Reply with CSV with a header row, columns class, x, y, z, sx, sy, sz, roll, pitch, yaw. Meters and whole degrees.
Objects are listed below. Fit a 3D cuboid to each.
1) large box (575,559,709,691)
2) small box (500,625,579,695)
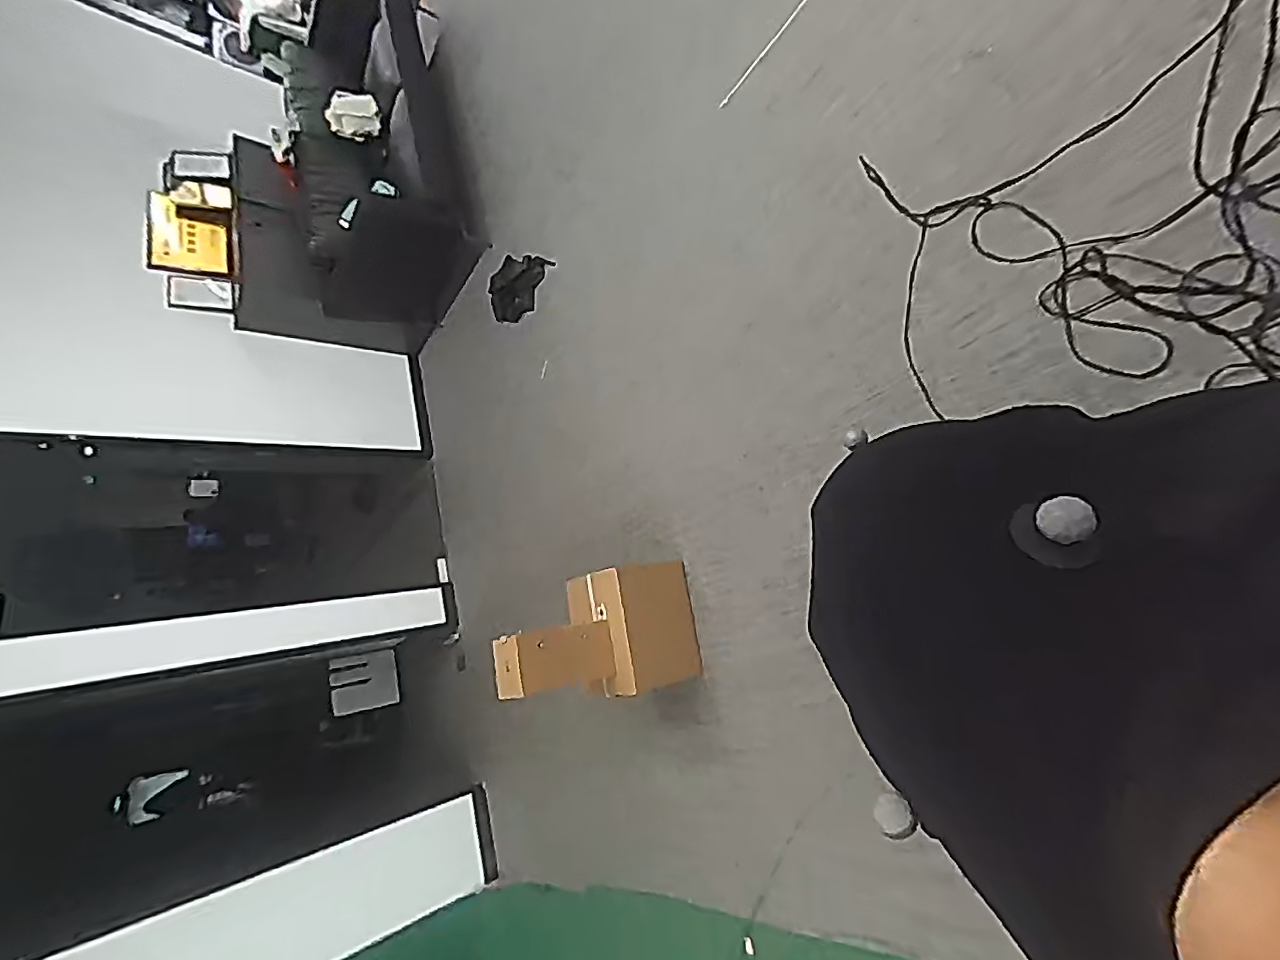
class,x,y,z,sx,sy,sz,roll,pitch,yaw
large box,0.003,0.511,1.922,0.320,0.320,0.408,-24,70,46
small box,-0.307,0.548,1.657,0.168,0.176,0.179,-29,67,47
